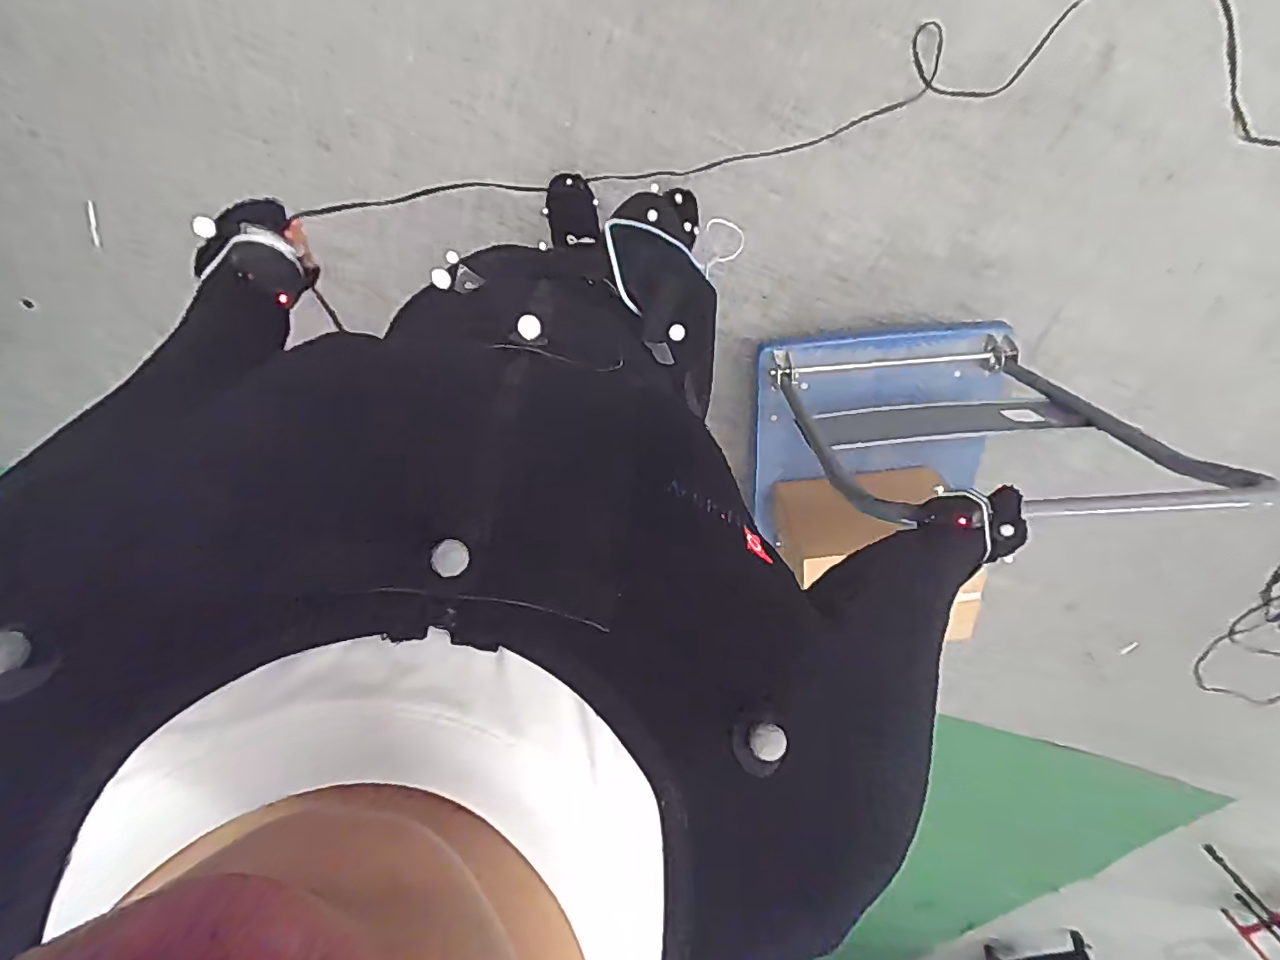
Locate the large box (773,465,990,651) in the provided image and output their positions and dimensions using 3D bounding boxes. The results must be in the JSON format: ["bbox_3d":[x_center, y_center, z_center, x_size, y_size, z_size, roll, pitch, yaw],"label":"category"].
[{"bbox_3d":[0.574,0.191,1.372,0.408,0.320,0.320,-8,123,5],"label":"large box"}]
